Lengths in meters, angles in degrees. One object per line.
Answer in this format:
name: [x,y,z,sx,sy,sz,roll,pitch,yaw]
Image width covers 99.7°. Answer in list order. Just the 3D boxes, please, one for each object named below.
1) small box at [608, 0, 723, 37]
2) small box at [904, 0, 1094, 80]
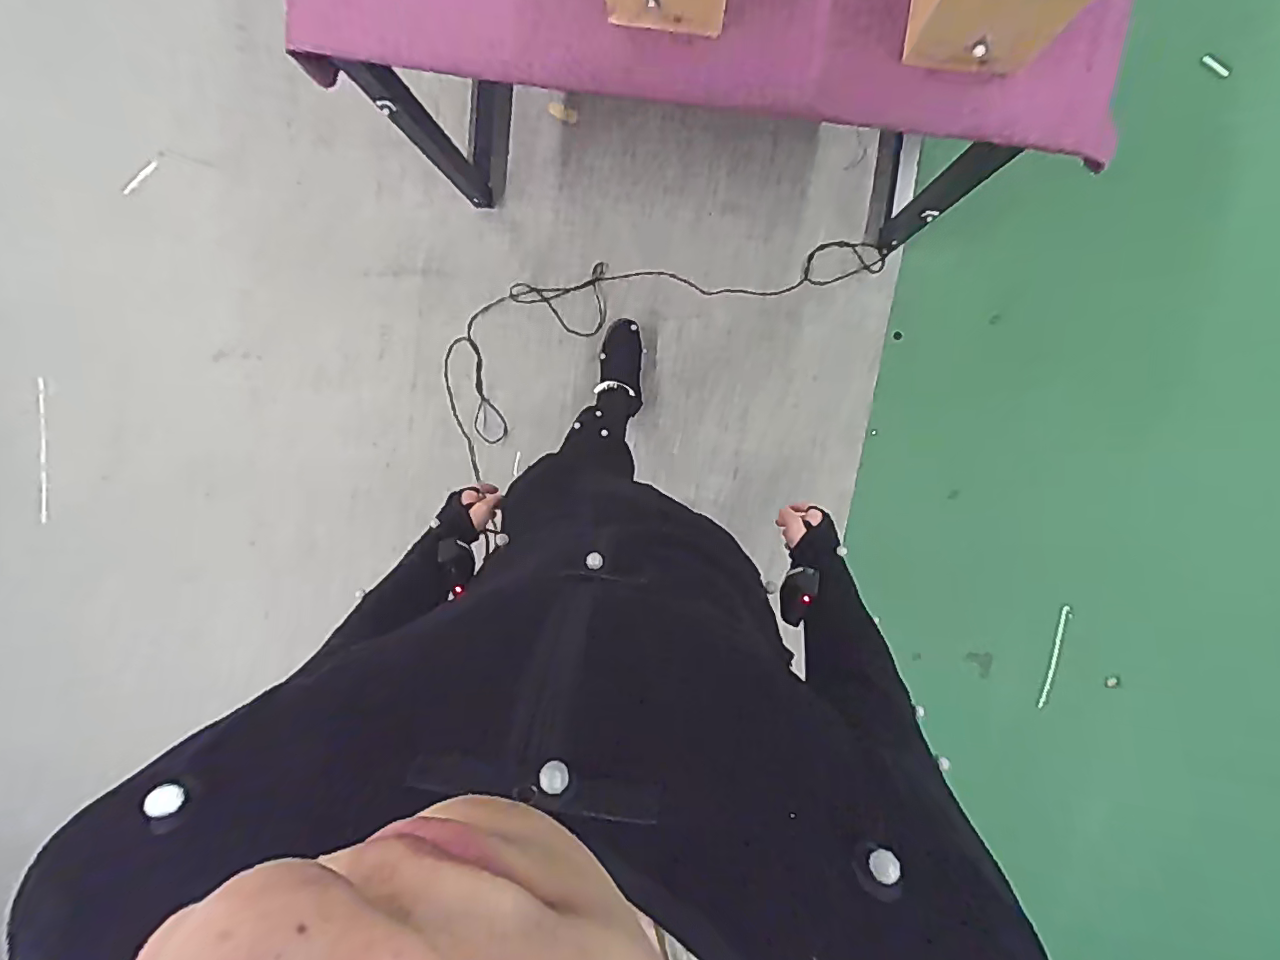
small box: [0.043,-0.727,0.690,0.168,0.176,0.179,10,98,1]
small box: [0.456,-0.652,0.677,0.168,0.176,0.179,8,98,3]
